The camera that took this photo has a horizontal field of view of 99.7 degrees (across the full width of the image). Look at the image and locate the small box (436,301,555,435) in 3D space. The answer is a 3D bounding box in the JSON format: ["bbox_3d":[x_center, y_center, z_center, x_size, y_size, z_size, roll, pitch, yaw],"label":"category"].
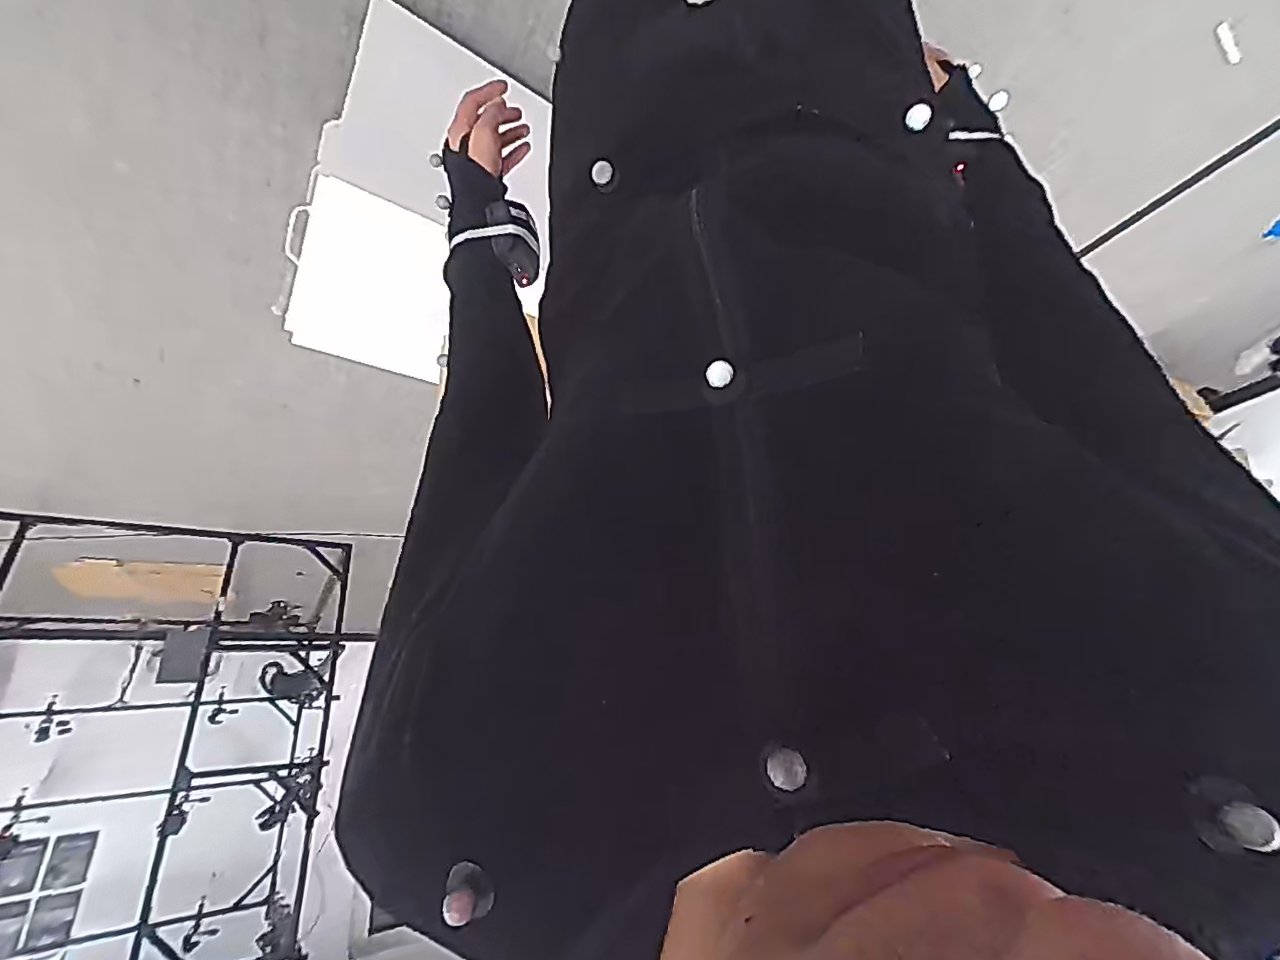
[{"bbox_3d":[-0.279,-0.214,1.044,0.179,0.176,0.168,12,147,-32],"label":"small box"}]
